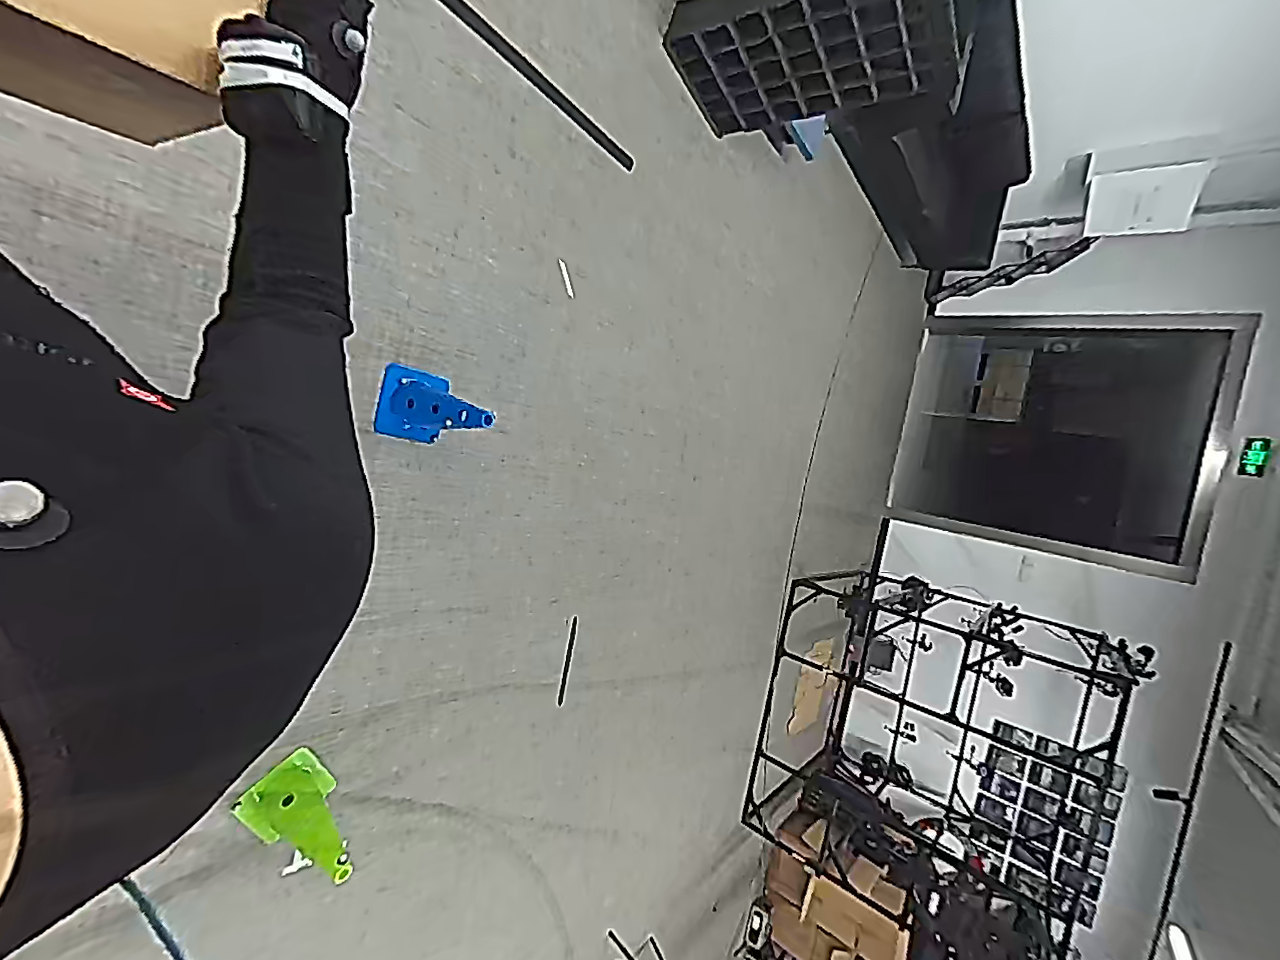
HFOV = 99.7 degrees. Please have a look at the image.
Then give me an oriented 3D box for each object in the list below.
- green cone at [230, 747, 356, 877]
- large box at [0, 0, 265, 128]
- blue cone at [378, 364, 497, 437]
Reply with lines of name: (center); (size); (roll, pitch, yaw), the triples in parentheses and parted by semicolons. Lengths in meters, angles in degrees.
green cone: (-0.835, 0.890, 1.377); (0.202, 0.368, 0.200); (-43, 132, -39)
large box: (-0.489, -0.465, 0.299); (0.408, 0.320, 0.320); (-2, 109, -54)
blue cone: (-0.528, -0.195, 1.470); (0.192, 0.380, 0.193); (15, 89, -54)
